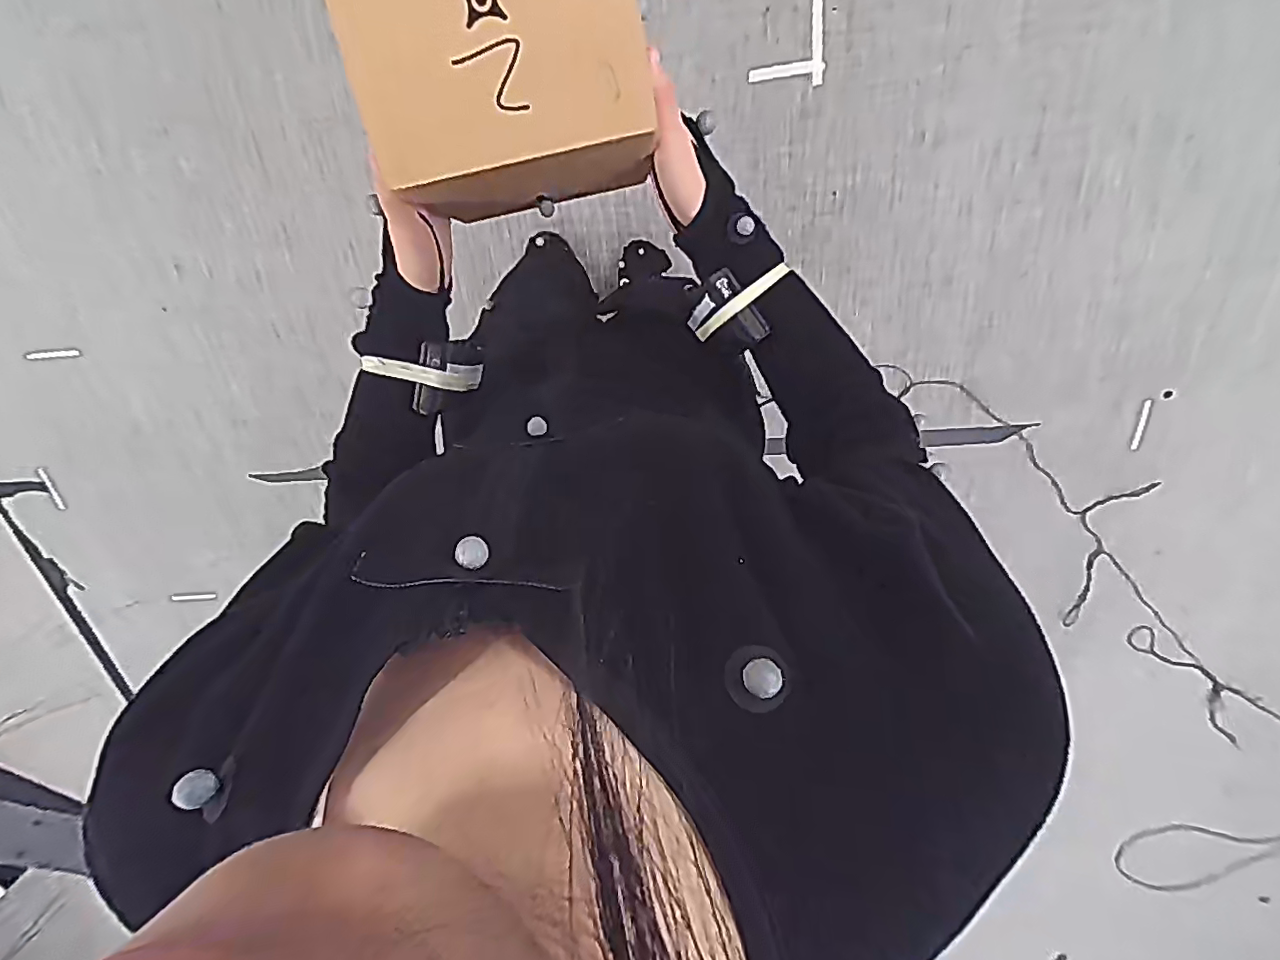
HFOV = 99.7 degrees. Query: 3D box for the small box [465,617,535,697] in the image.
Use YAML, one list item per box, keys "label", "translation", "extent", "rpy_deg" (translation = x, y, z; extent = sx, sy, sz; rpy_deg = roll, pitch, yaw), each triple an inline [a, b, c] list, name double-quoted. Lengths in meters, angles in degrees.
- label: "small box"
  translation: [-0.447, 0.563, 1.738]
  extent: [0.179, 0.176, 0.168]
  rpy_deg: [11, 113, -5]
